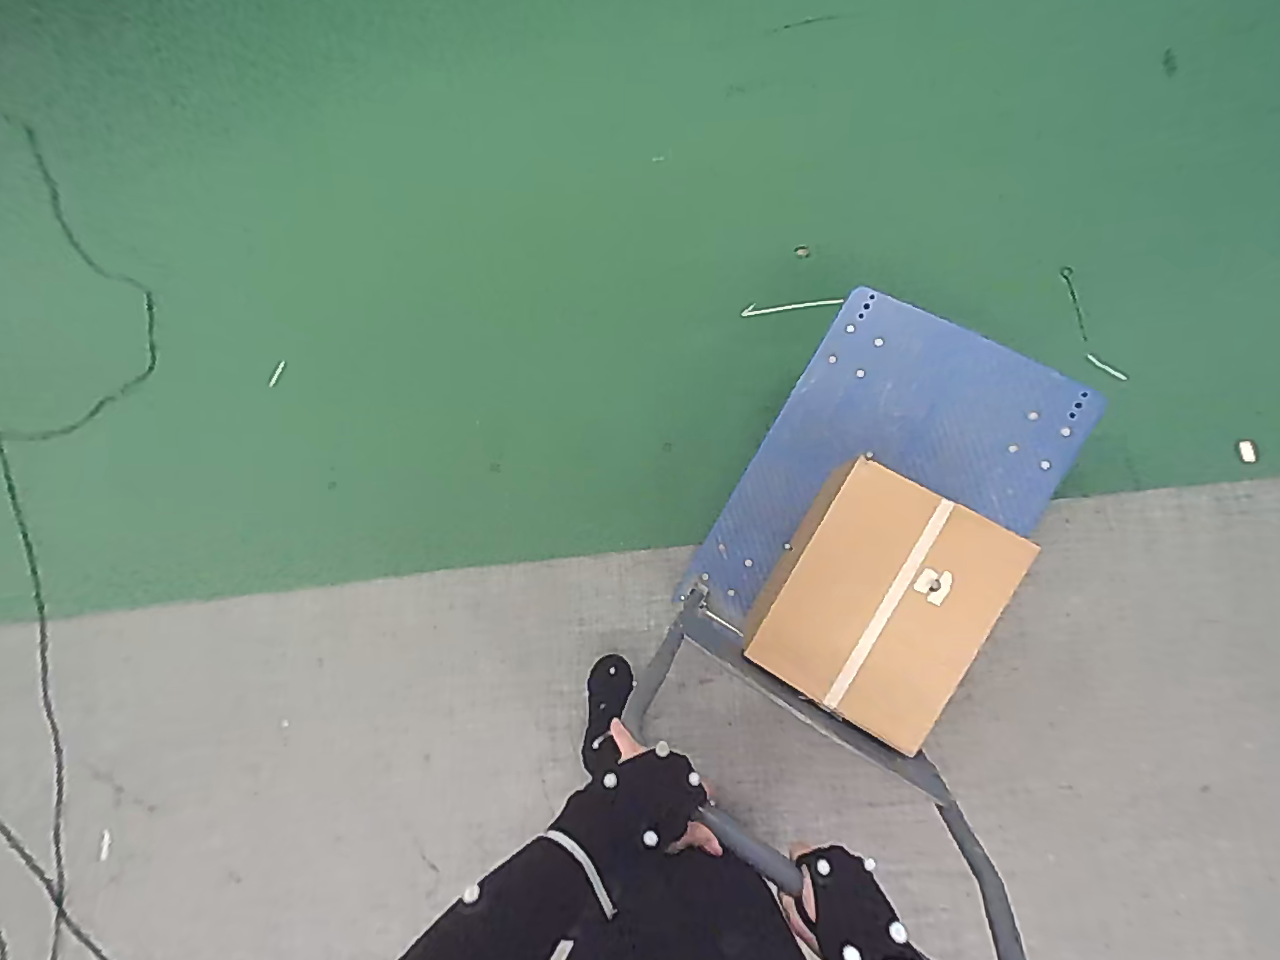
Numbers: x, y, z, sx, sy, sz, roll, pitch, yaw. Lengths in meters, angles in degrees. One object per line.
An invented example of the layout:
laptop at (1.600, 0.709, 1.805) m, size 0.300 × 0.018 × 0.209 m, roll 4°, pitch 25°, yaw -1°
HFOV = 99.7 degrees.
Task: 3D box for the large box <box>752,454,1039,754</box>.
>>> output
large box at (0.443, 0.213, 1.043) m, size 0.320 × 0.320 × 0.408 m, roll 30°, pitch 91°, yaw 11°
